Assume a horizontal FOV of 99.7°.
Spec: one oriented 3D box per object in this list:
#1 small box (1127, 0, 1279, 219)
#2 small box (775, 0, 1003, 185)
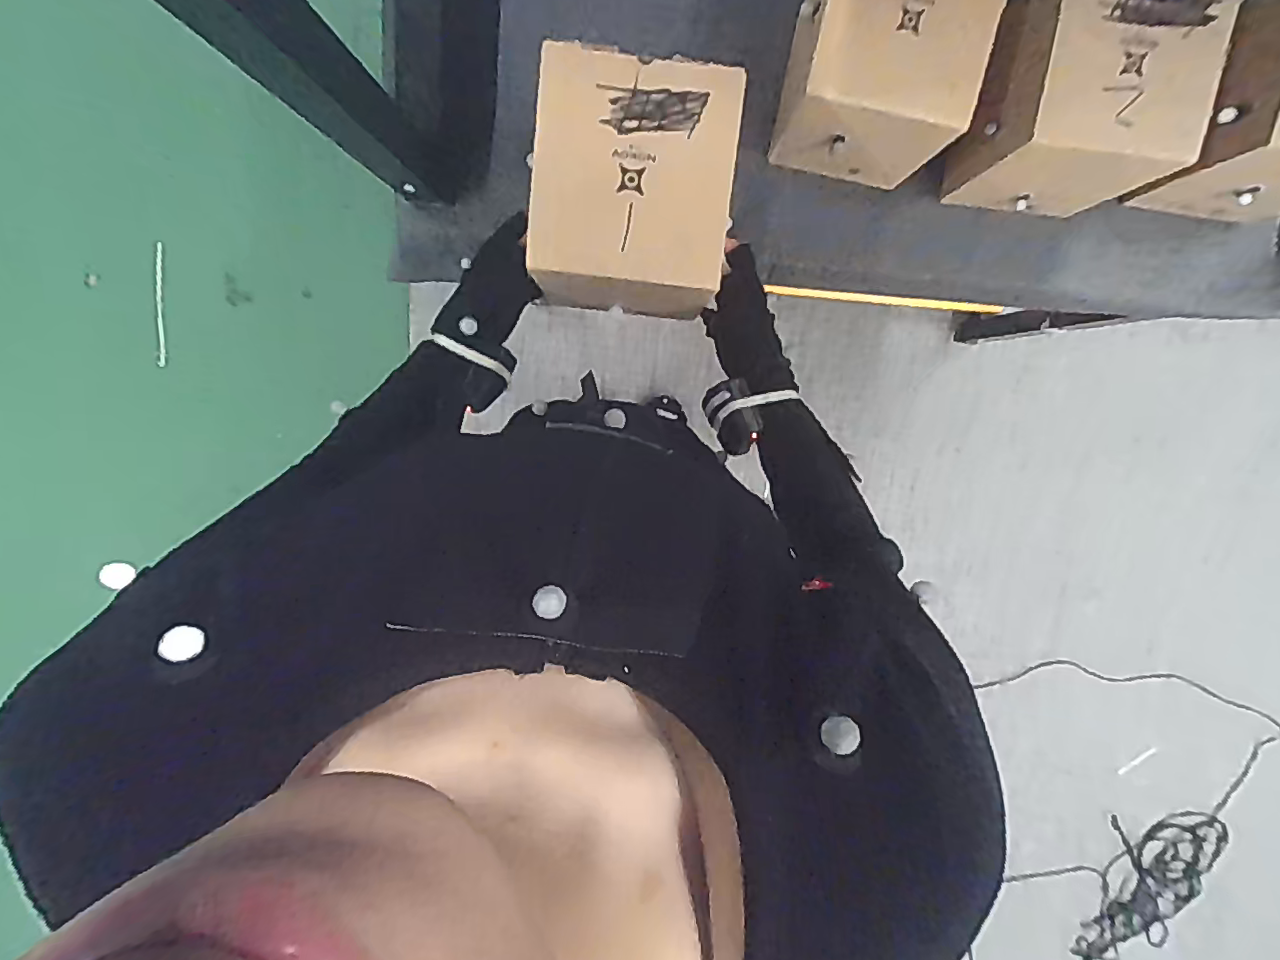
[{"bbox_3d":[0.697,-0.408,0.592,0.168,0.176,0.179,8,99,-1],"label":"small box"},{"bbox_3d":[0.258,-0.453,0.591,0.168,0.176,0.179,12,99,-1],"label":"small box"}]
